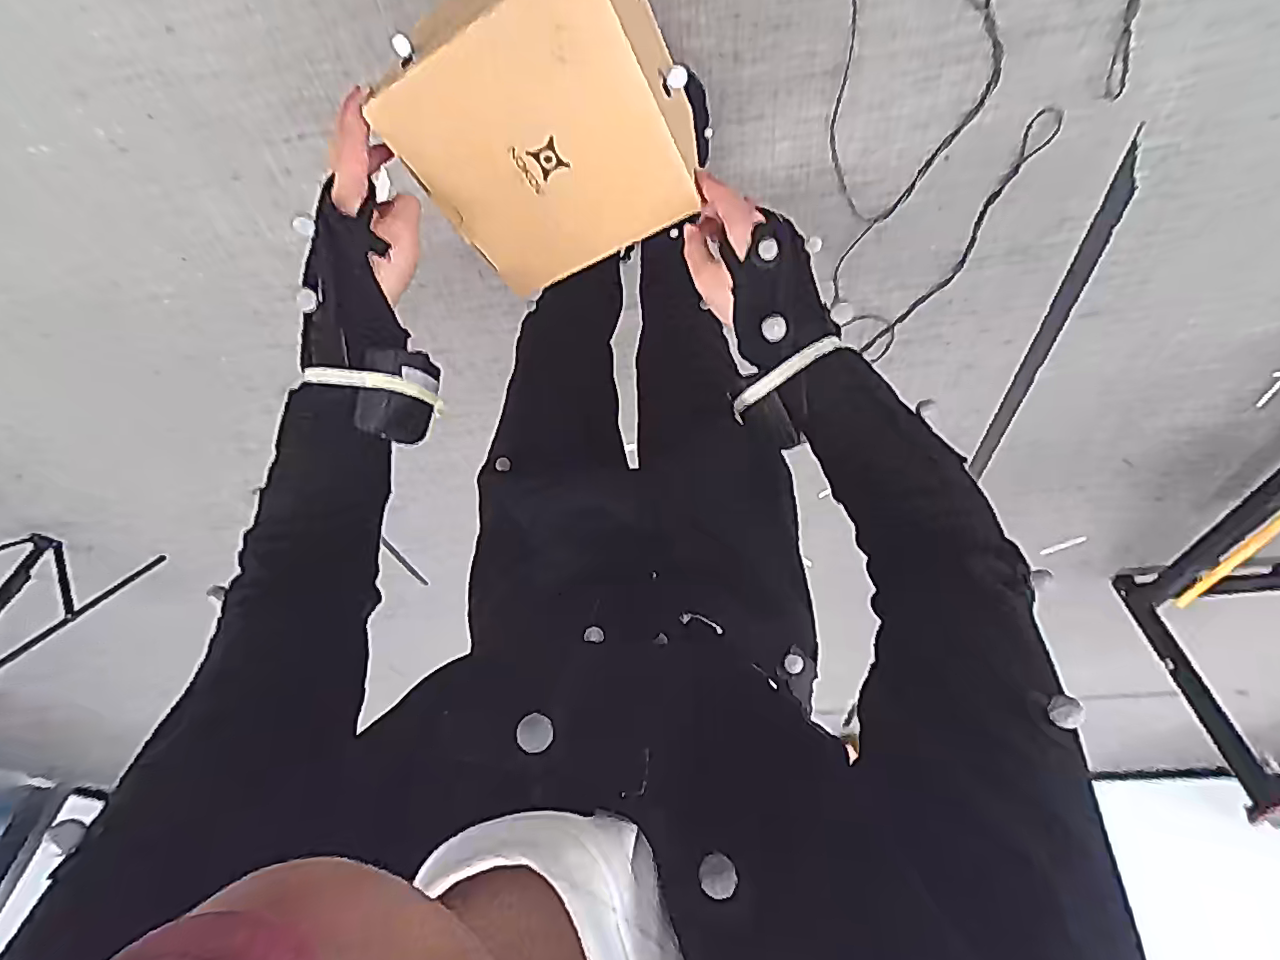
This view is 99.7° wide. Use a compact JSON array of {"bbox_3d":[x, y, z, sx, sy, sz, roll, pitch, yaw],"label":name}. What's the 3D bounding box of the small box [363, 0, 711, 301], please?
[{"bbox_3d":[-0.062,-0.277,0.403,0.179,0.176,0.168,-16,144,24],"label":"small box"}]
